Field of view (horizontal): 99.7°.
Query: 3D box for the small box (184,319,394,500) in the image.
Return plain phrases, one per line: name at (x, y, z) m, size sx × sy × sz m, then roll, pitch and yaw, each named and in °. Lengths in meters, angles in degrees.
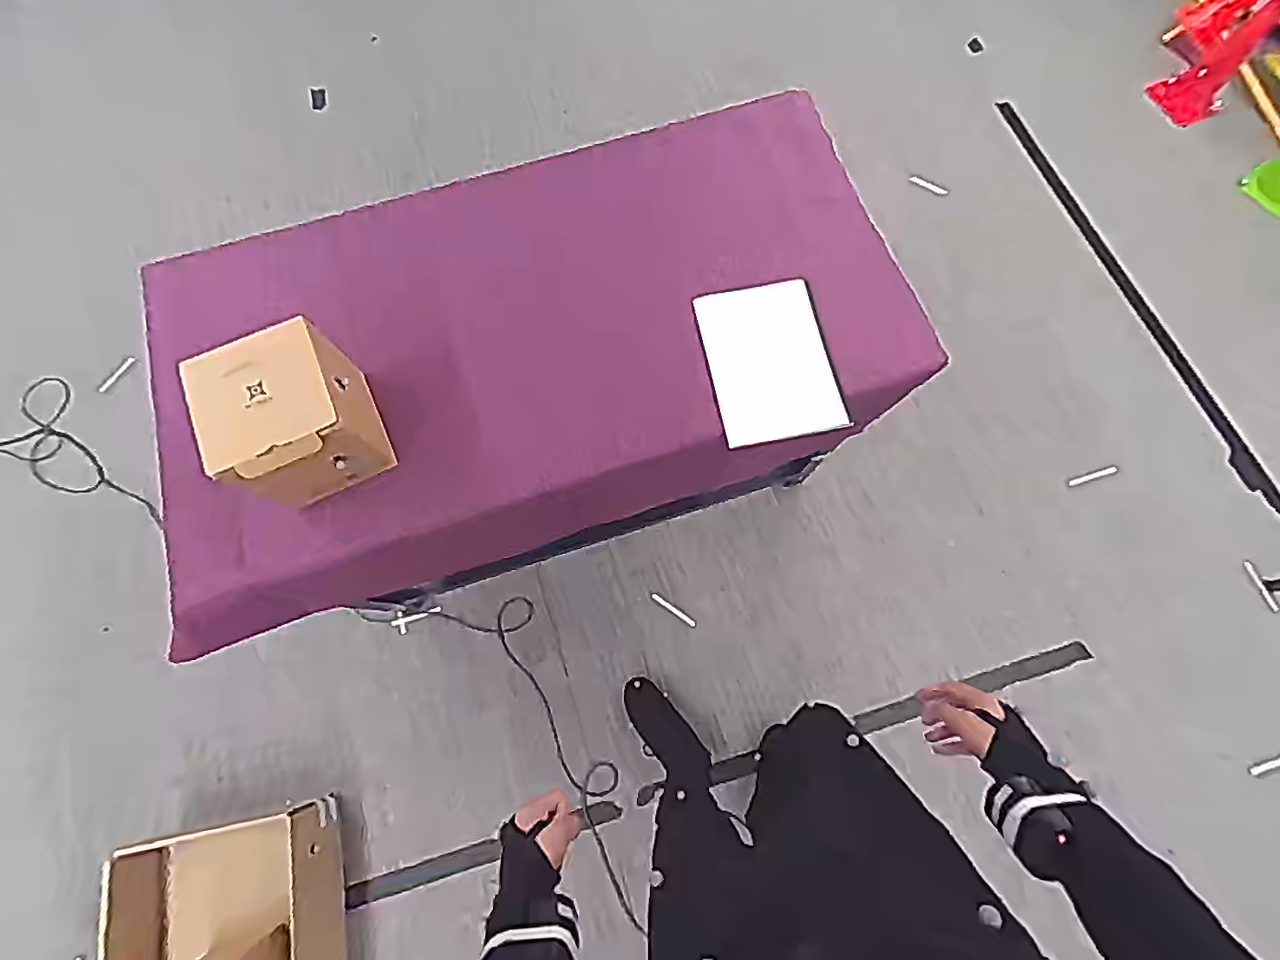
small box at (-0.478, -0.085, 0.761) m, size 0.168 × 0.176 × 0.179 m, roll -25°, pitch 75°, yaw -7°
